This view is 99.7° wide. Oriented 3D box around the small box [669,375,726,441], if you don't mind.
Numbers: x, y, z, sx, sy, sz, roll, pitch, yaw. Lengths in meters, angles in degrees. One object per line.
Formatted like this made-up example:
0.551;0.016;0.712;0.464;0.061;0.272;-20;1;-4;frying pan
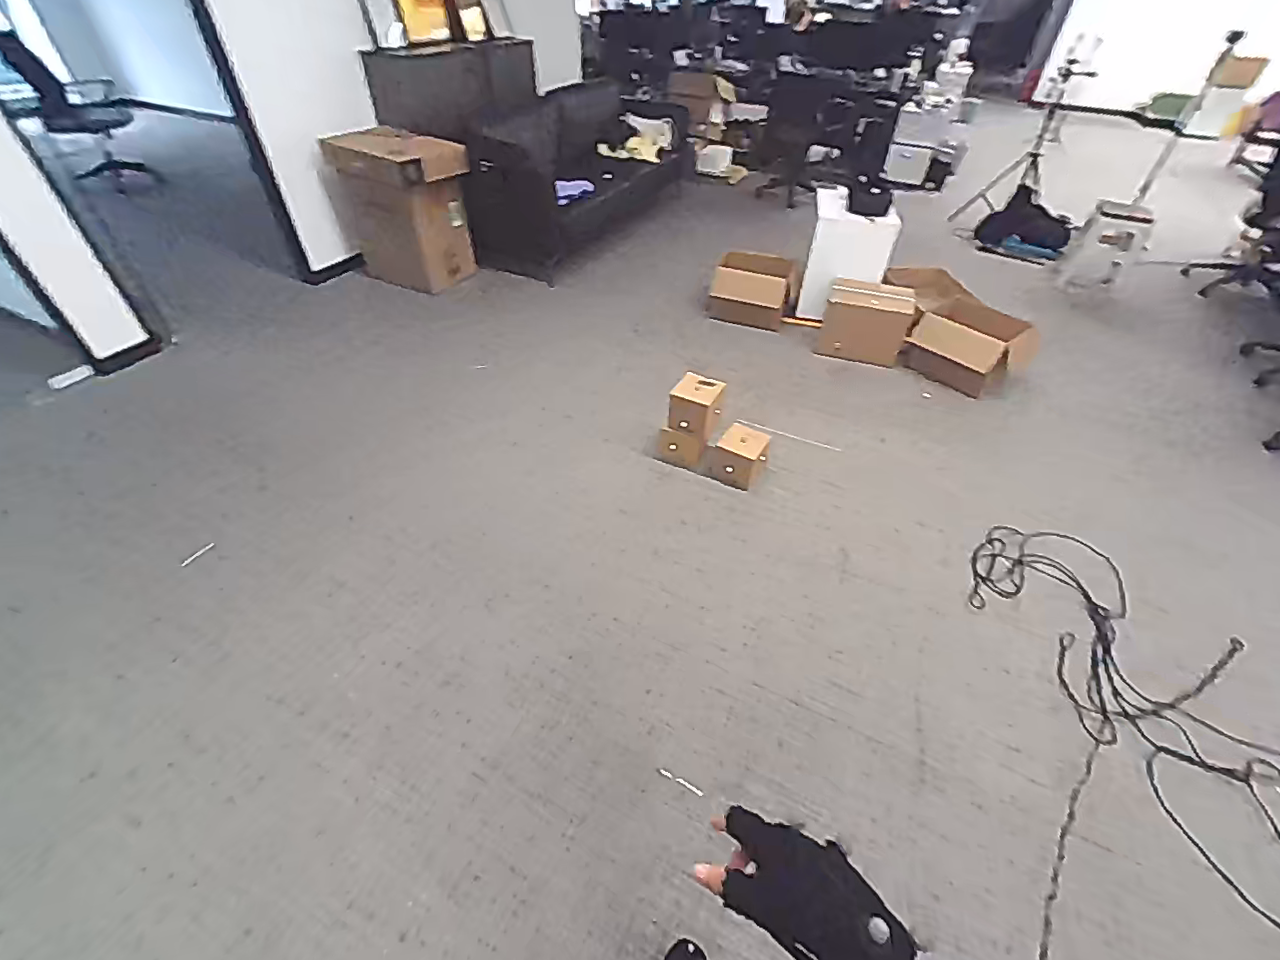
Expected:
0.221;-0.283;2.134;0.168;0.176;0.179;21;47;20;small box

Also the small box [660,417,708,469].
0.187;-0.169;2.252;0.168;0.176;0.179;15;44;15;small box

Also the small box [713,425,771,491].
0.404;-0.086;2.166;0.168;0.176;0.179;25;48;22;small box
